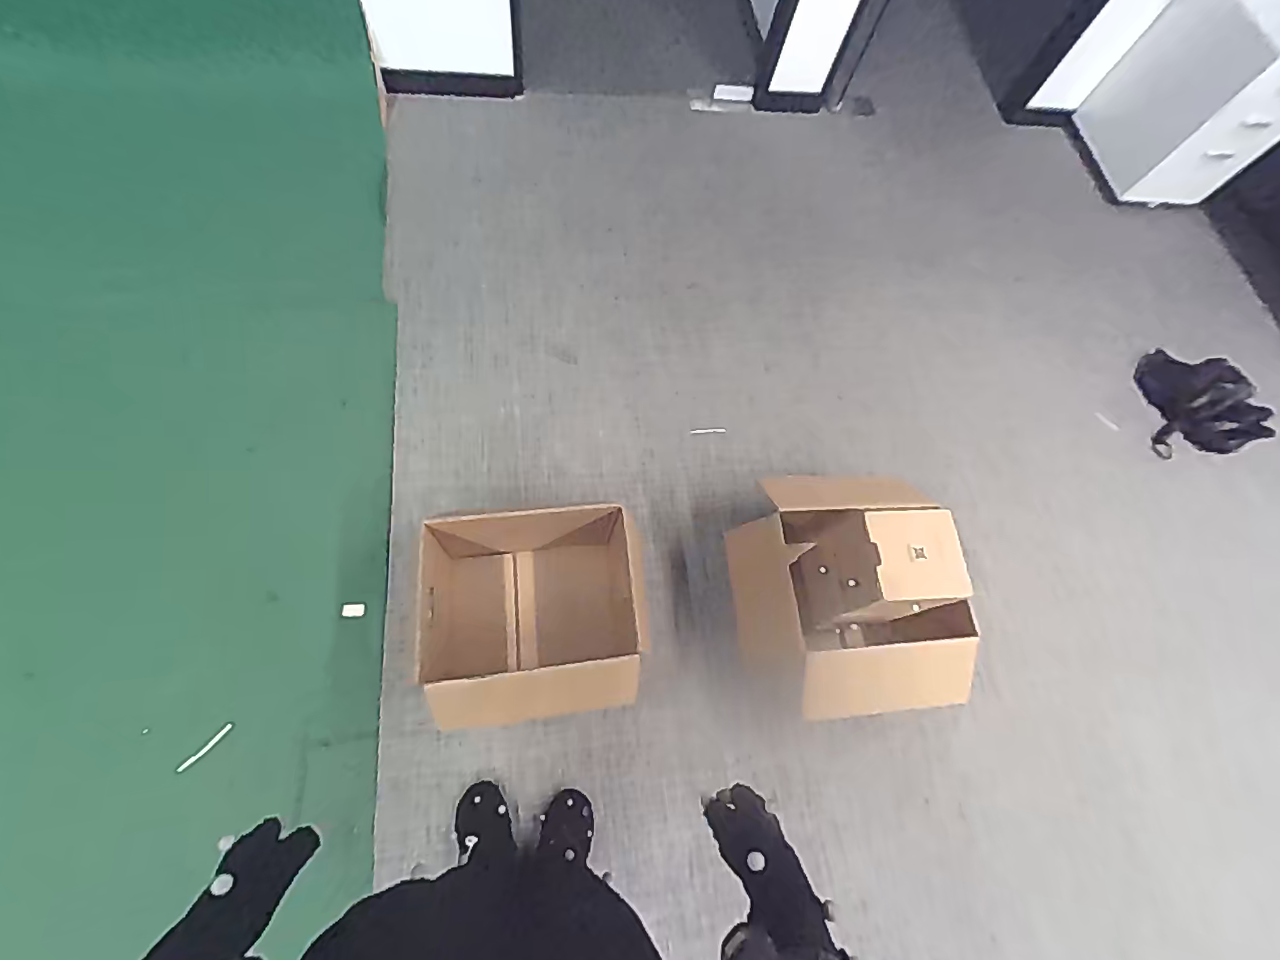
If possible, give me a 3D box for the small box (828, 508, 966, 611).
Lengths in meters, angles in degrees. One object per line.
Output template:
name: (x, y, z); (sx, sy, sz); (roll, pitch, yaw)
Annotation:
small box: (0.489, 0.162, 1.065); (0.179, 0.176, 0.168); (-2, 69, -8)
